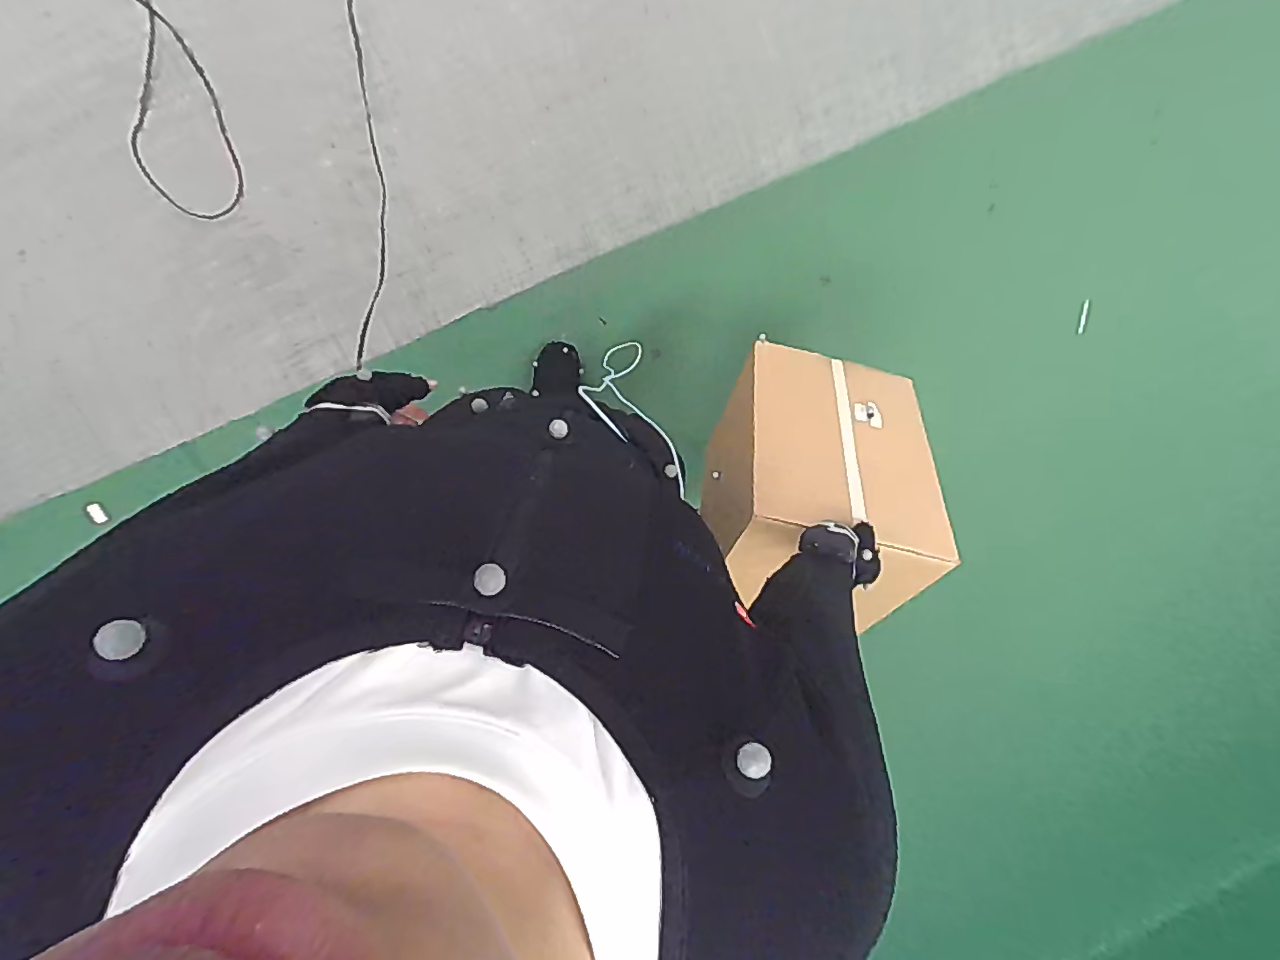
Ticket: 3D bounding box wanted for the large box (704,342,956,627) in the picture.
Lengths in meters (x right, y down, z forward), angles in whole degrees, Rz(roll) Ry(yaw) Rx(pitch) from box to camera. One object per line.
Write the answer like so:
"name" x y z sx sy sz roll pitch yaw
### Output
"large box" 0.312 0.013 1.019 0.320 0.408 0.320 13 141 -5
